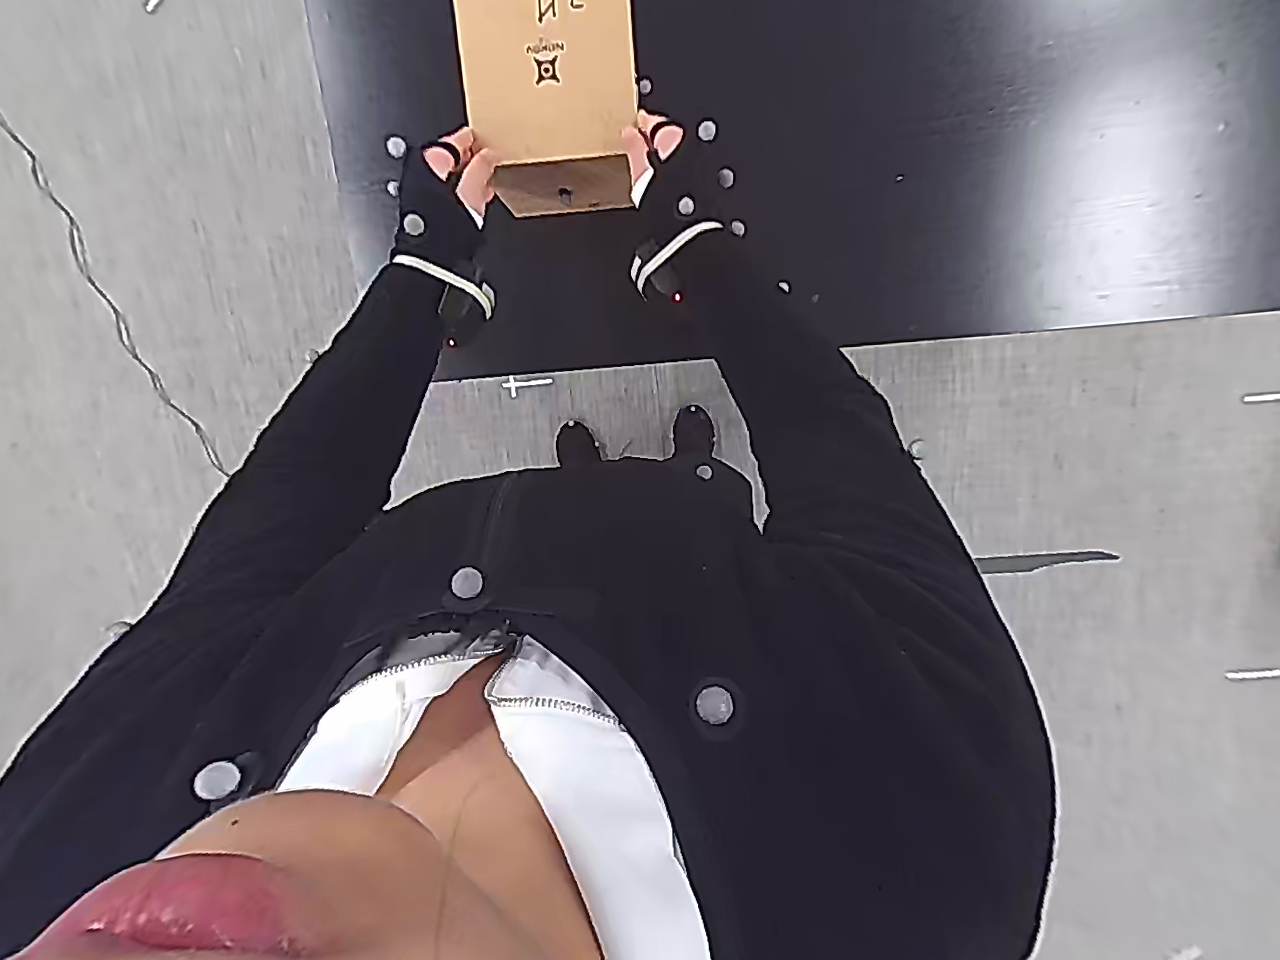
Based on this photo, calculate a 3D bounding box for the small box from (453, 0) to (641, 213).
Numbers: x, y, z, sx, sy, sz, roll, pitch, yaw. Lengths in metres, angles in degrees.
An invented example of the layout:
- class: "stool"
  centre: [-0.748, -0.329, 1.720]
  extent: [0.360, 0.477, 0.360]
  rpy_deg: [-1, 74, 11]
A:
- class: "small box"
  centre: [-0.088, -0.408, 0.594]
  extent: [0.168, 0.176, 0.179]
  rpy_deg: [-4, 100, 2]
